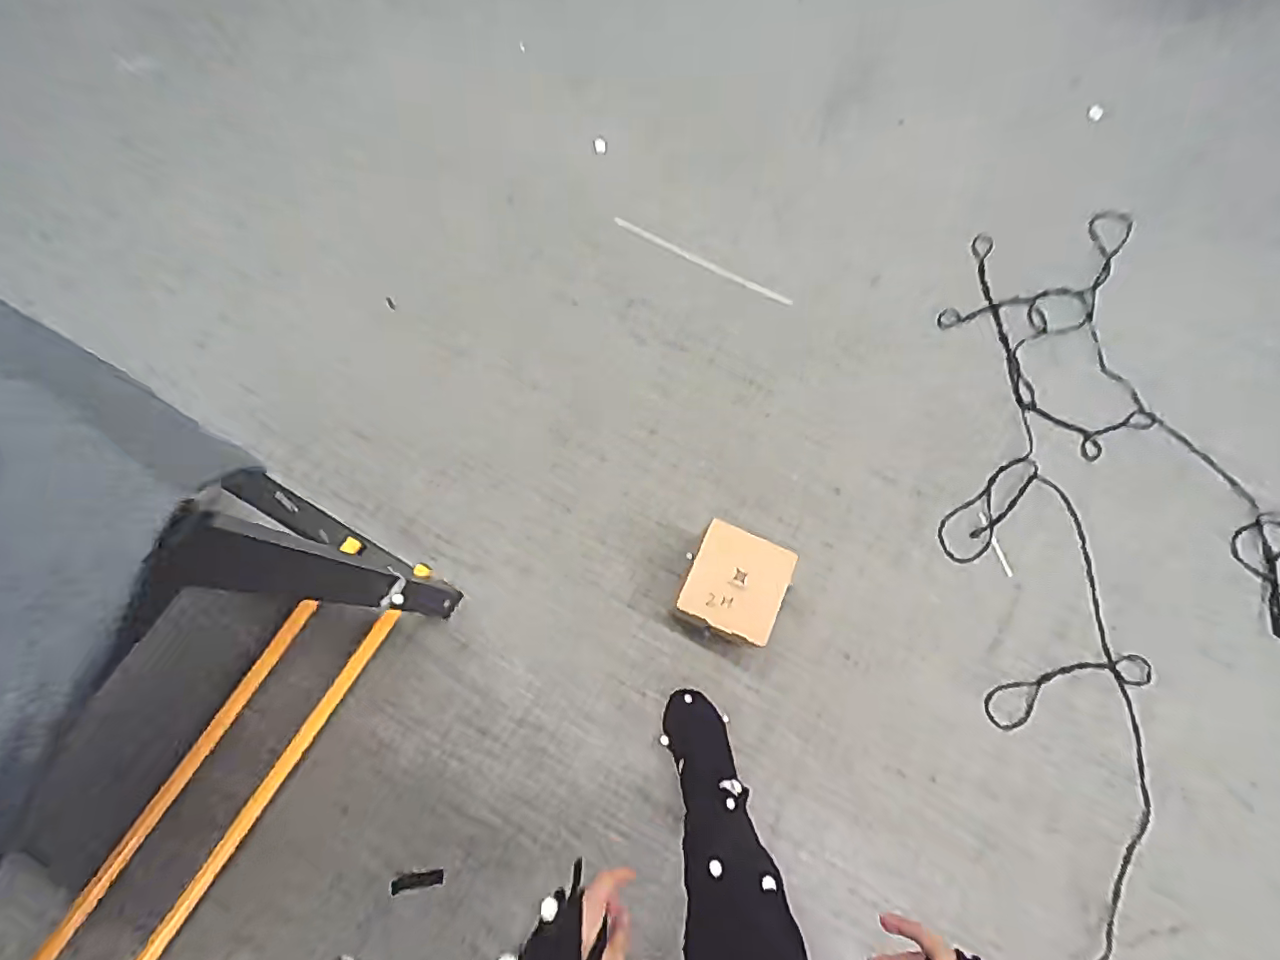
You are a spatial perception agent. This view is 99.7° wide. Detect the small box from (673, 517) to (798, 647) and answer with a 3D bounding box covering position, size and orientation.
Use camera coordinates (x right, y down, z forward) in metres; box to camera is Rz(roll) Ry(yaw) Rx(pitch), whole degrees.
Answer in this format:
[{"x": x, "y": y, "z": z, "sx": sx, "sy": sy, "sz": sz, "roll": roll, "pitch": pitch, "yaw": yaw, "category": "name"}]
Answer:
[{"x": 0.169, "y": 0.195, "z": 1.013, "sx": 0.168, "sy": 0.176, "sz": 0.179, "roll": 24, "pitch": 74, "yaw": 6, "category": "small box"}]
